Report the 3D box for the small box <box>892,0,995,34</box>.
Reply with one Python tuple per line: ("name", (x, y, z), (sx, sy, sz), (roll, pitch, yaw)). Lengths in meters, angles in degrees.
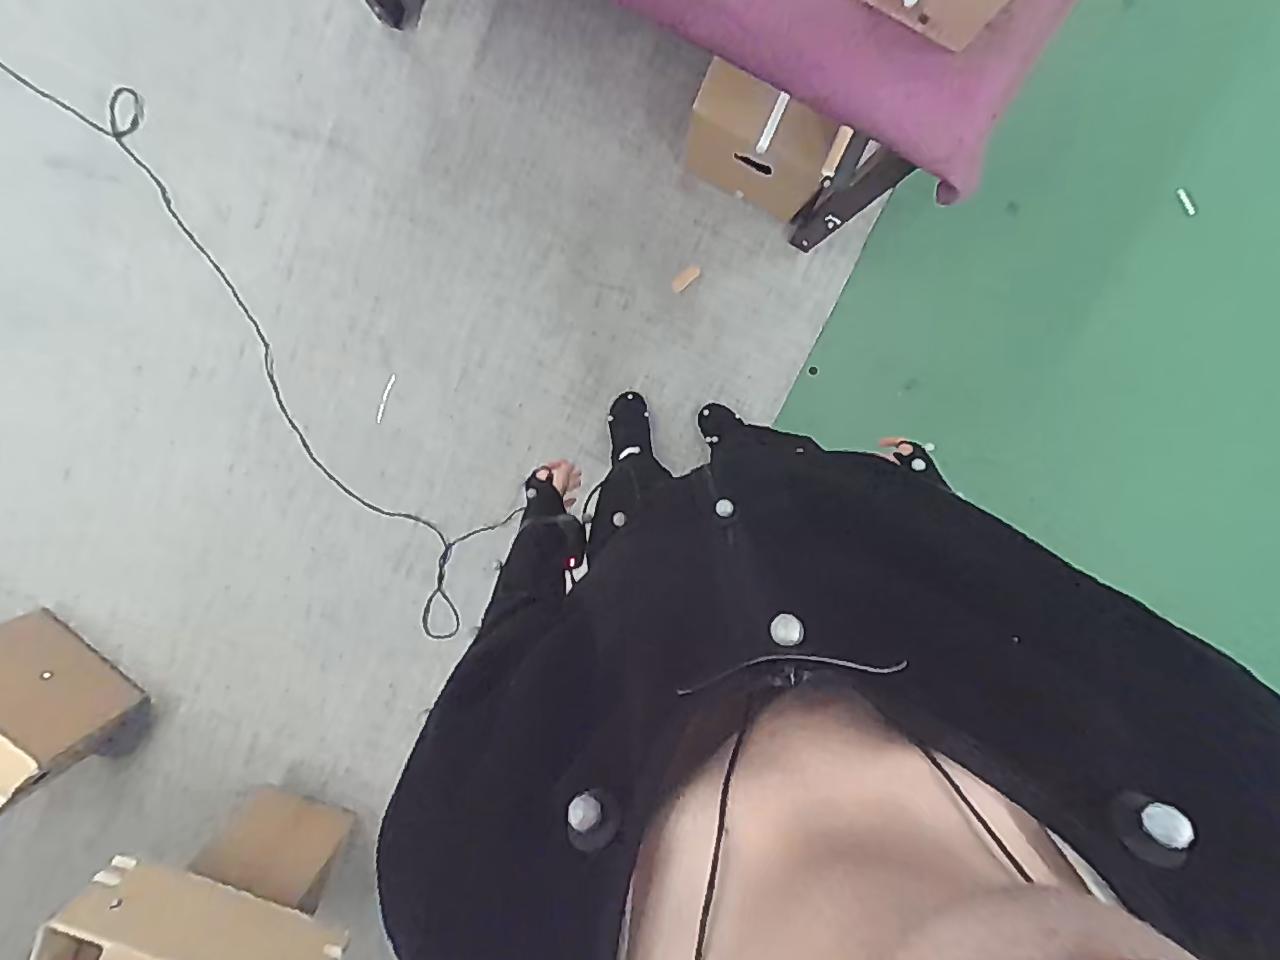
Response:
("small box", (0.351, -0.626, 0.550), (0.168, 0.176, 0.179), (26, 100, -4))
